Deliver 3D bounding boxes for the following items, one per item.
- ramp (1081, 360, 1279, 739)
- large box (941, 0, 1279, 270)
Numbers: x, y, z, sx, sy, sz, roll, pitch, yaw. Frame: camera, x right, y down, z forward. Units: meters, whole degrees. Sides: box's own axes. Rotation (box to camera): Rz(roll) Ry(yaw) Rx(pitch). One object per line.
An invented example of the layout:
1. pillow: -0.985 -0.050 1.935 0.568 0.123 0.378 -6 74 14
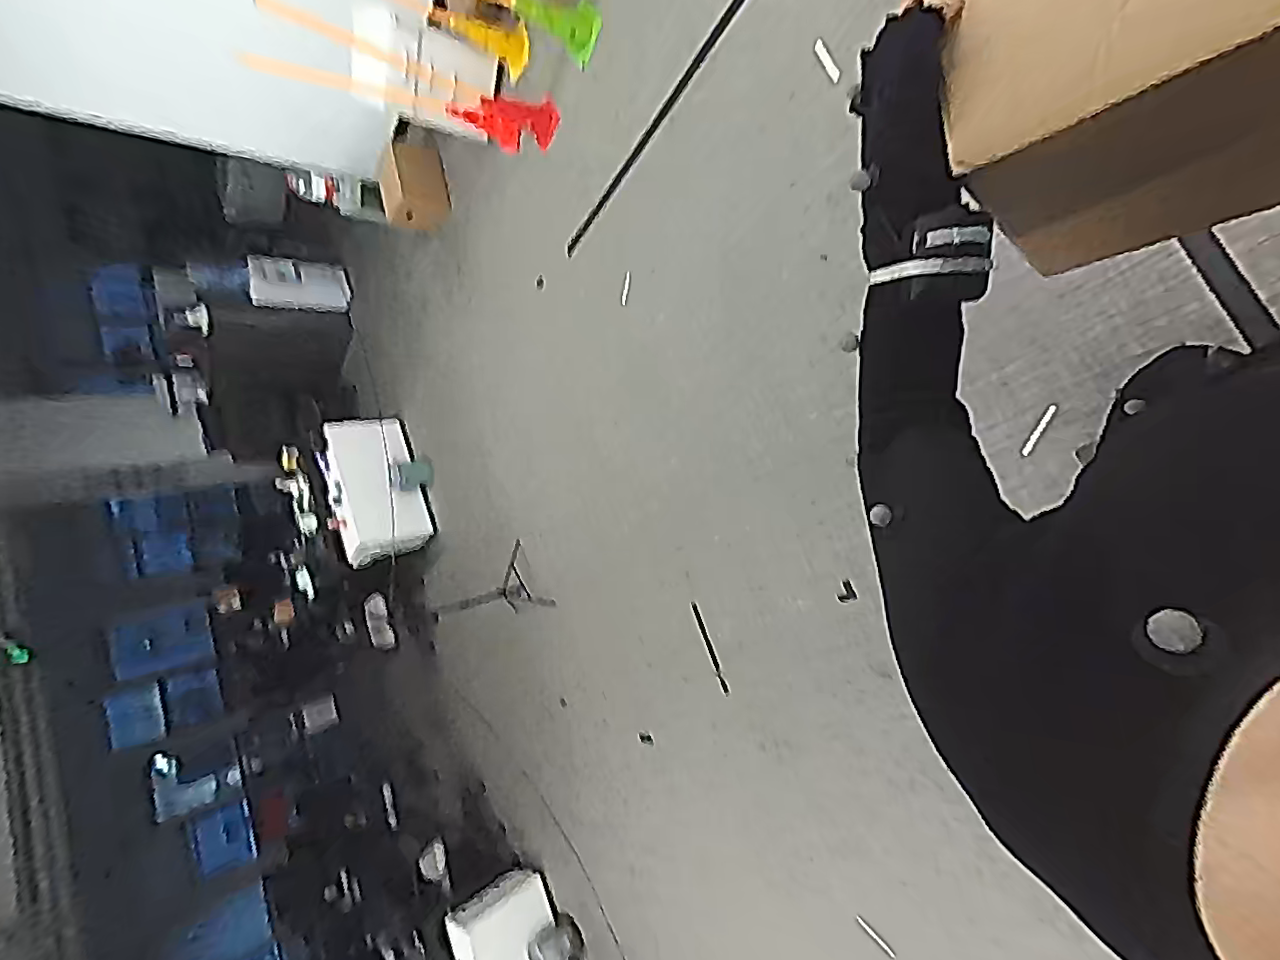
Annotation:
1. ramp: 1.359 0.241 0.976 0.509 0.206 0.991 -38 70 44
2. large box: 0.466 -0.403 0.370 0.408 0.320 0.320 -10 84 46
